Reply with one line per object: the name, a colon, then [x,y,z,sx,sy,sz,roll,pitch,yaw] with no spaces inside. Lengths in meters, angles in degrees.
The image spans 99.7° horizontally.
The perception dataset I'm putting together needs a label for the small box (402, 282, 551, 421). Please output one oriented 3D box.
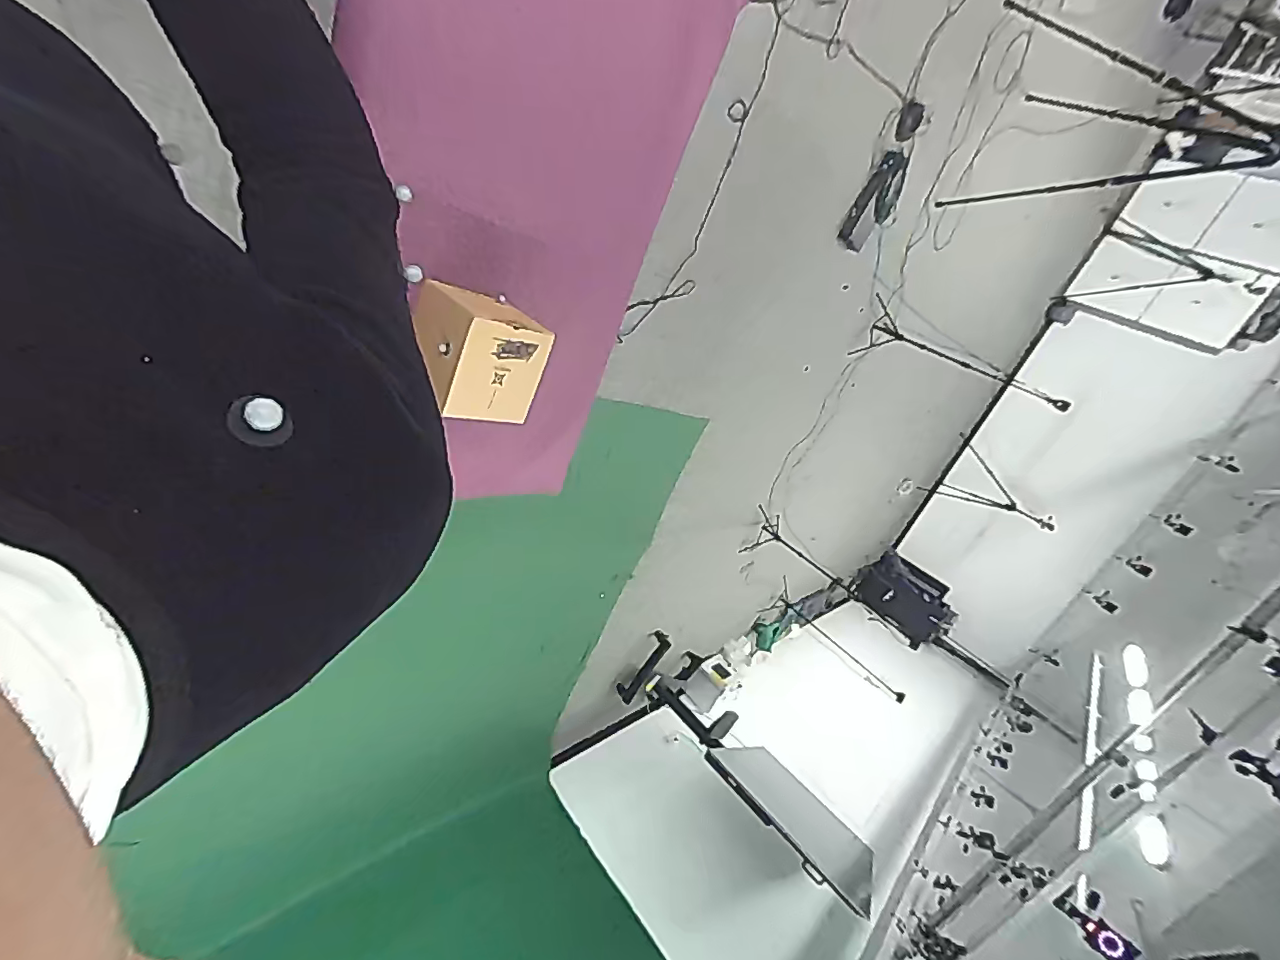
small box: [-0.291,-0.223,0.949,0.168,0.176,0.179,-1,123,-51]
